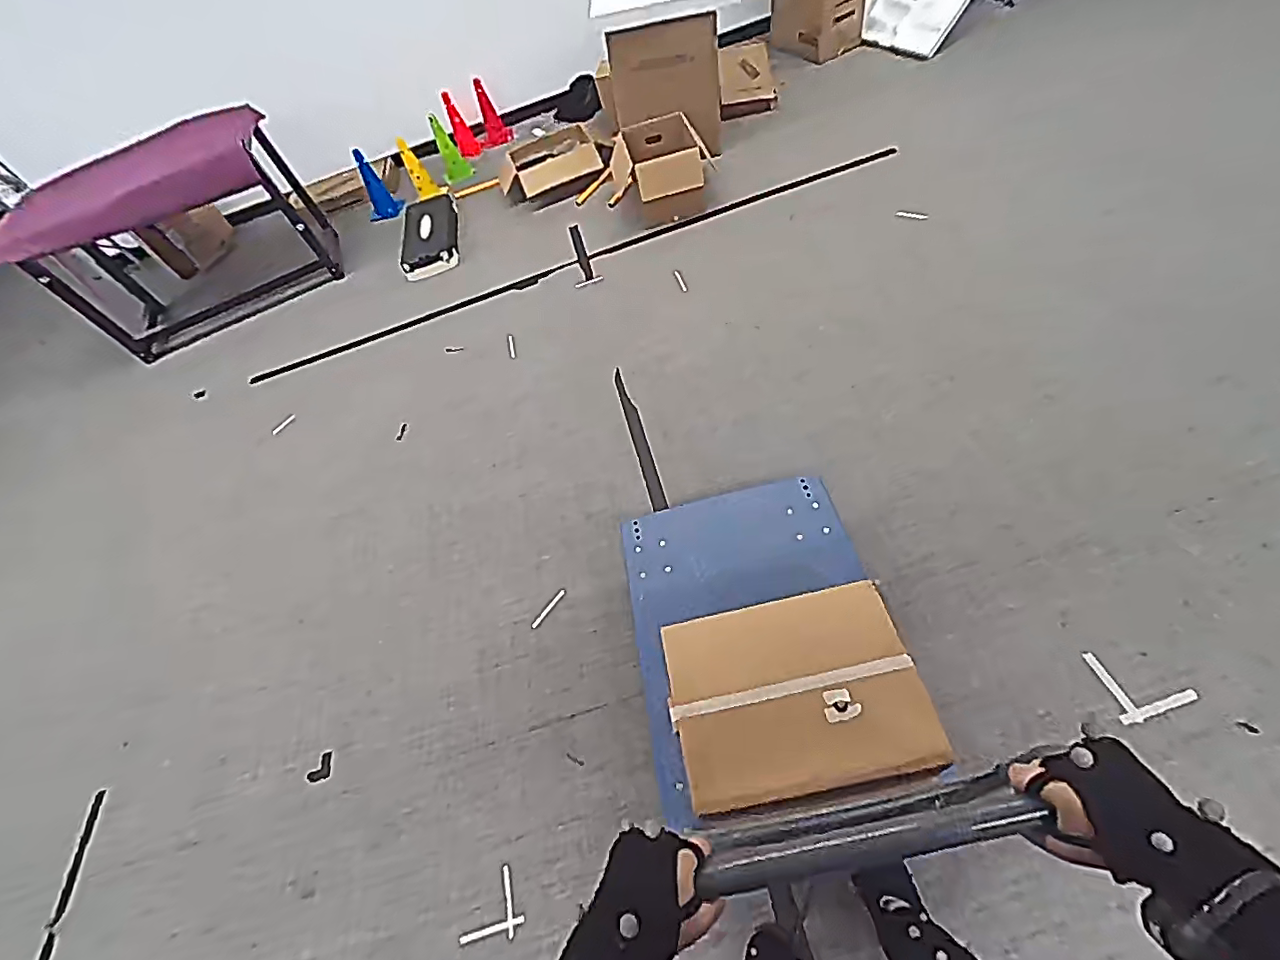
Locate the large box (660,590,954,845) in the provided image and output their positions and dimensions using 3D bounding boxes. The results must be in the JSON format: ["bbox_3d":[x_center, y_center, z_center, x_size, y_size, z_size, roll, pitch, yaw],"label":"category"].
[{"bbox_3d":[0.279,0.454,1.014,0.408,0.320,0.320,-14,52,3],"label":"large box"}]
